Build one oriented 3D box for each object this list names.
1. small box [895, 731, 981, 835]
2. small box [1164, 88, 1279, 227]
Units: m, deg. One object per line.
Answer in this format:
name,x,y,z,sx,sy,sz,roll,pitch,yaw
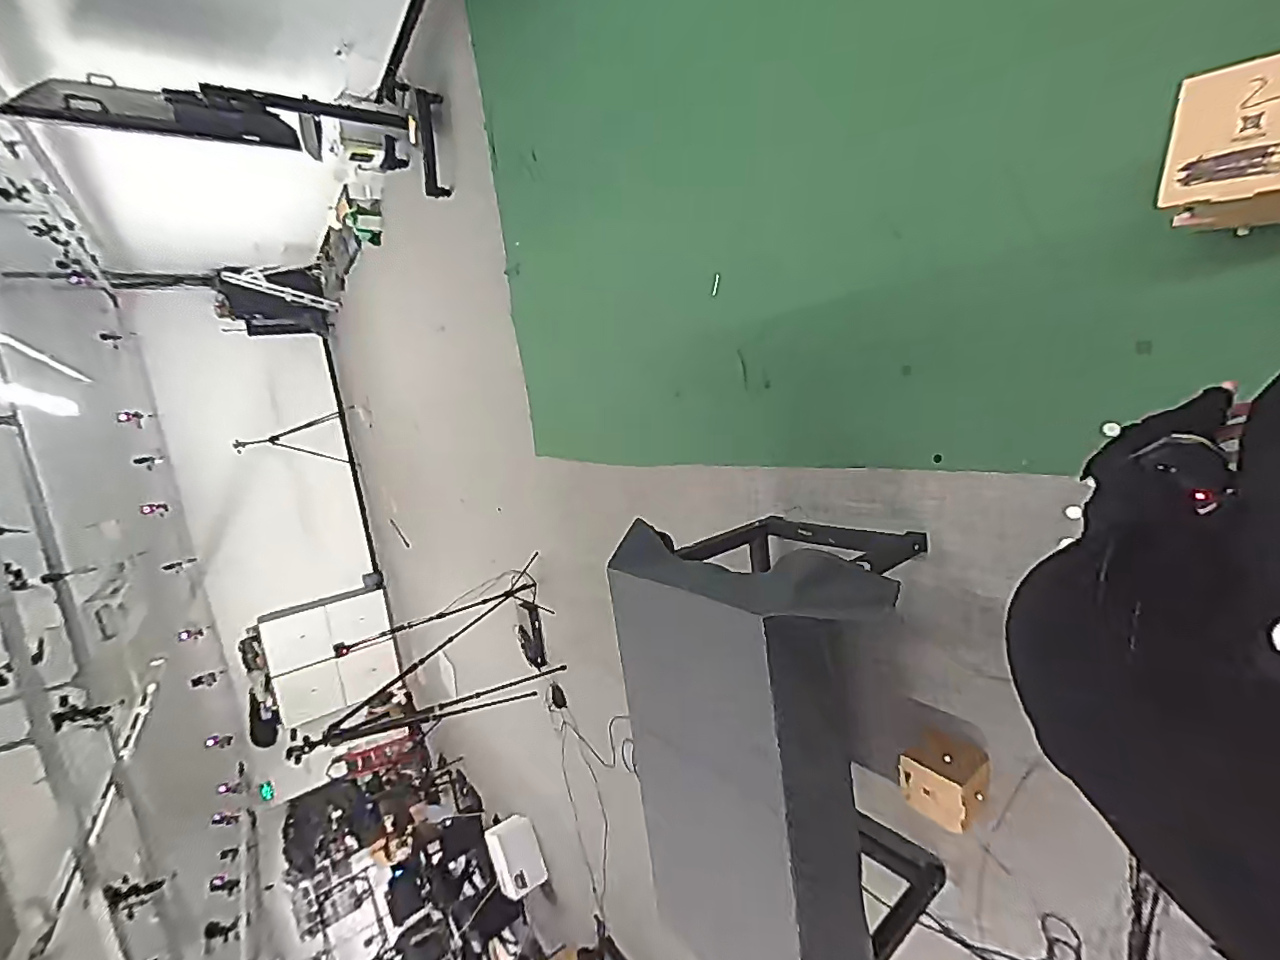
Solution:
small box,0.868,0.871,1.576,0.179,0.176,0.168,10,109,51
small box,1.022,-0.530,0.900,0.168,0.176,0.179,20,118,50
